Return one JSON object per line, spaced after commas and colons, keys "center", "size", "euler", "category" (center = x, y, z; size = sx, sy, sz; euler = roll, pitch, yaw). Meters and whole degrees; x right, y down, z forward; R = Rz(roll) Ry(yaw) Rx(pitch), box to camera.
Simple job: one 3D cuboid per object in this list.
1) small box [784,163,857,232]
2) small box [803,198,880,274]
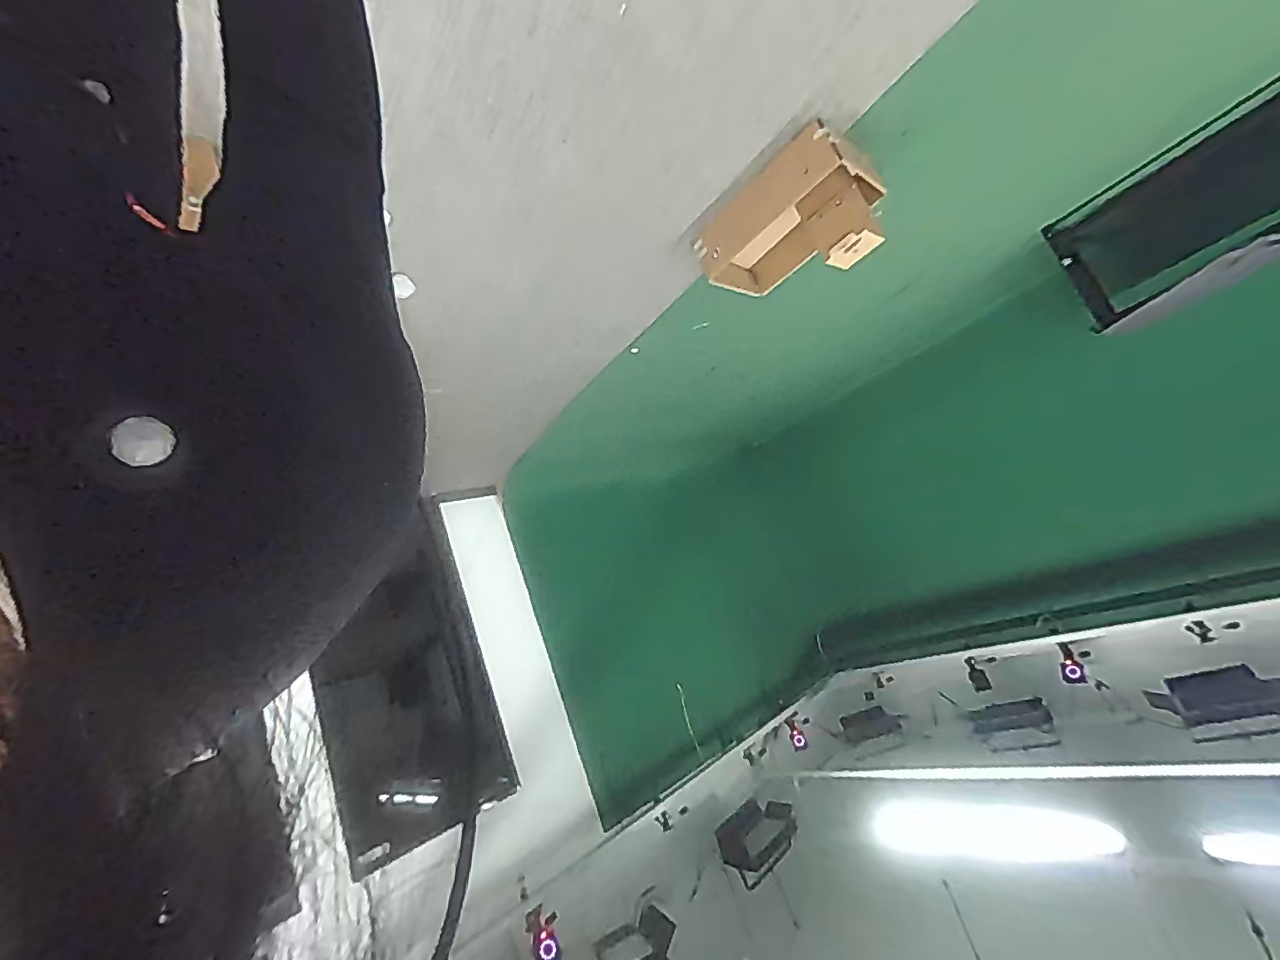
{"center": [0.660, -1.015, 1.970], "size": [0.179, 0.176, 0.168], "euler": [-8, 162, -42], "category": "small box"}
{"center": [0.711, -0.866, 1.921], "size": [0.179, 0.176, 0.168], "euler": [-8, 163, -44], "category": "small box"}
